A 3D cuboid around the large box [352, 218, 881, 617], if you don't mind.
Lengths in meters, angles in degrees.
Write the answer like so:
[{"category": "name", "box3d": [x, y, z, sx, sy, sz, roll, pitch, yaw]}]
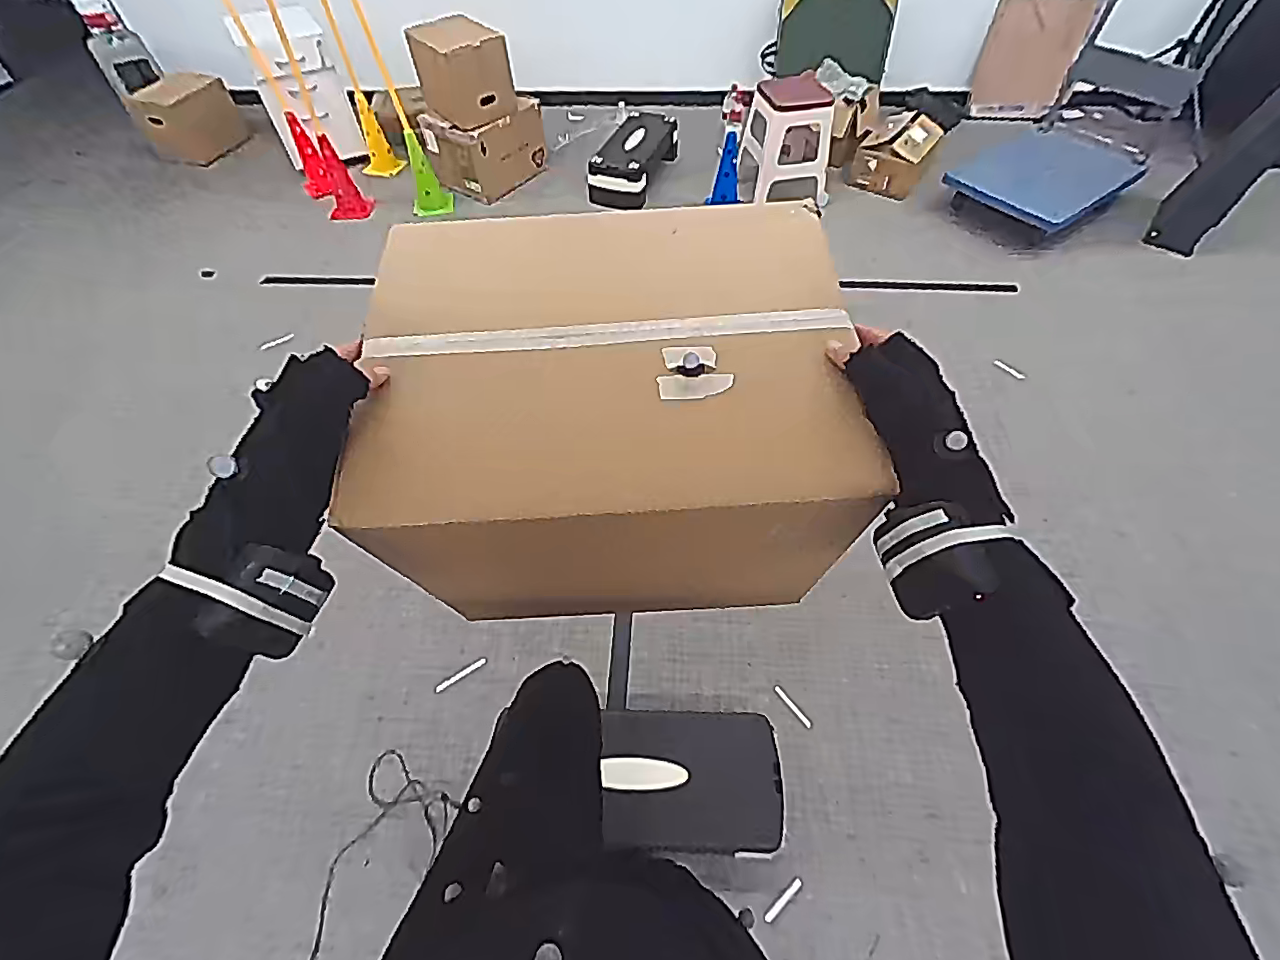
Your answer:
[{"category": "large box", "box3d": [-0.023, -0.046, 0.599, 0.408, 0.320, 0.320, -3, 63, 0]}]
